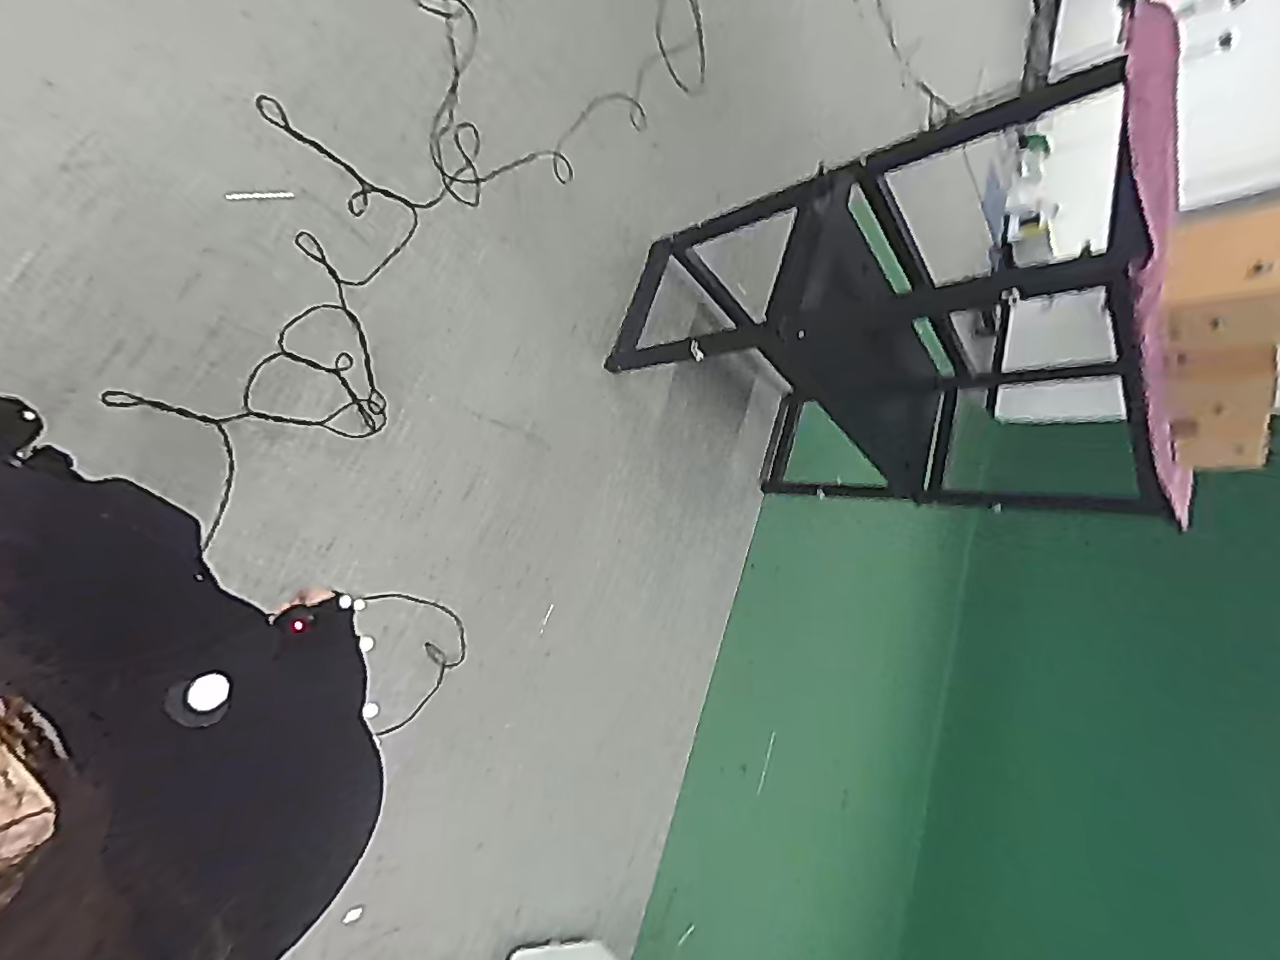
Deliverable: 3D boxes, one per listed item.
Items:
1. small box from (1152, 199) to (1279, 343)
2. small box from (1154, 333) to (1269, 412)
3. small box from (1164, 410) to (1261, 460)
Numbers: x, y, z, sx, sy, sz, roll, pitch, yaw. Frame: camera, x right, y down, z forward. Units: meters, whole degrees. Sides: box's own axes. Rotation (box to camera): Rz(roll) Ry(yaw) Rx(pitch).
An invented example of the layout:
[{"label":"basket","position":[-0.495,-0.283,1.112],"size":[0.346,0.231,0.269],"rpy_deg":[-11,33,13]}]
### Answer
[{"label":"small box","position":[1.068,-0.373,1.001],"size":[0.168,0.176,0.179],"rpy_deg":[30,72,-42]},{"label":"small box","position":[1.298,-0.265,1.231],"size":[0.179,0.176,0.168],"rpy_deg":[29,71,-39]},{"label":"small box","position":[1.519,-0.159,1.442],"size":[0.179,0.176,0.168],"rpy_deg":[34,67,-39]}]
